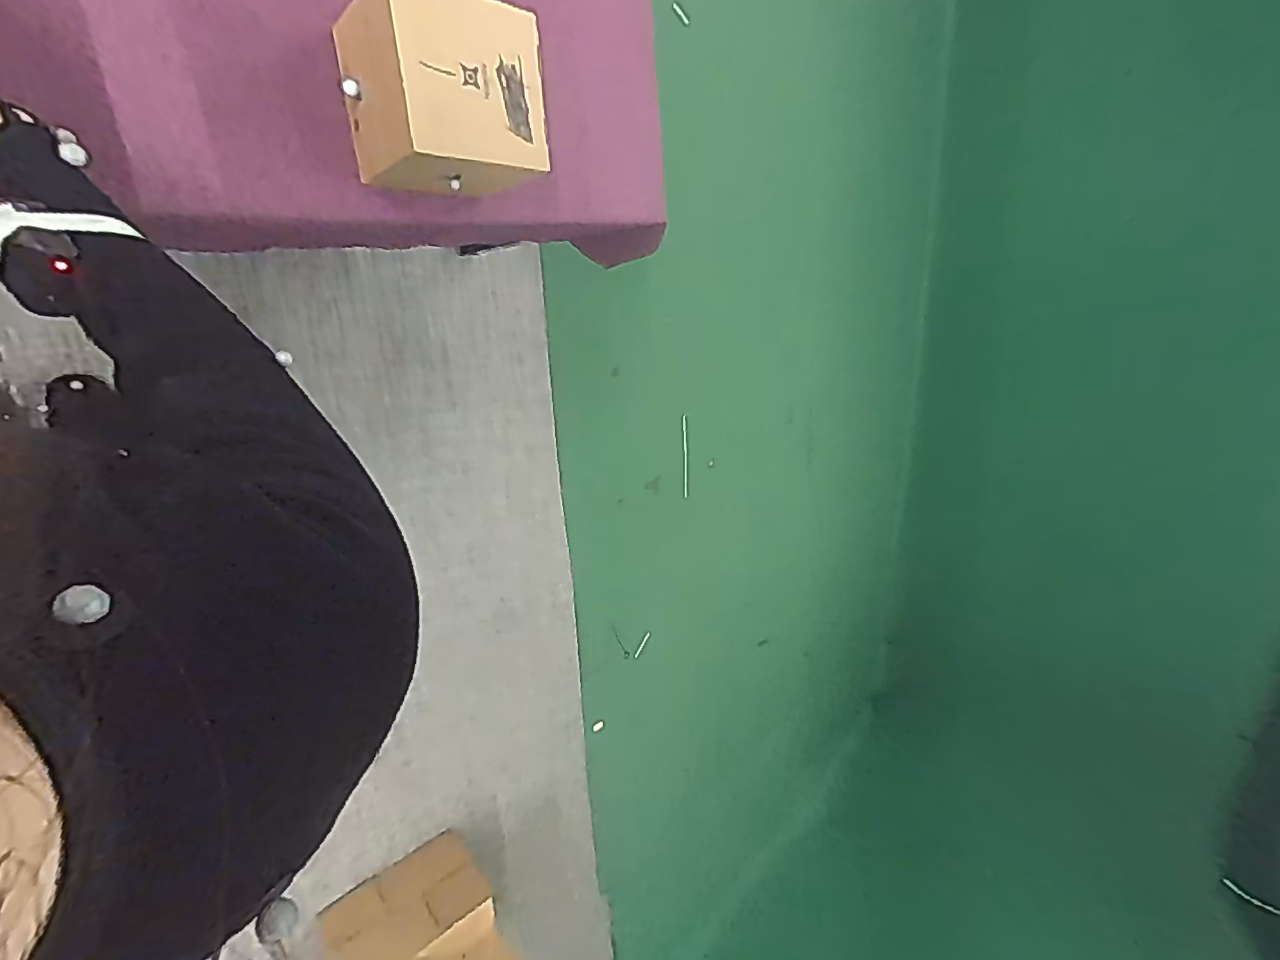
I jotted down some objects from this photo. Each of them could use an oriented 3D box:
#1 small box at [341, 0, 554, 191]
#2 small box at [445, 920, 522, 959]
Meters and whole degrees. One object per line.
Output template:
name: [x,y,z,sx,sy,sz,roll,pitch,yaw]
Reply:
small box: [-0.228,-0.457,0.648,0.179,0.176,0.168,-18,113,-39]
small box: [-0.451,1.445,1.564,0.168,0.176,0.179,-11,111,-44]
